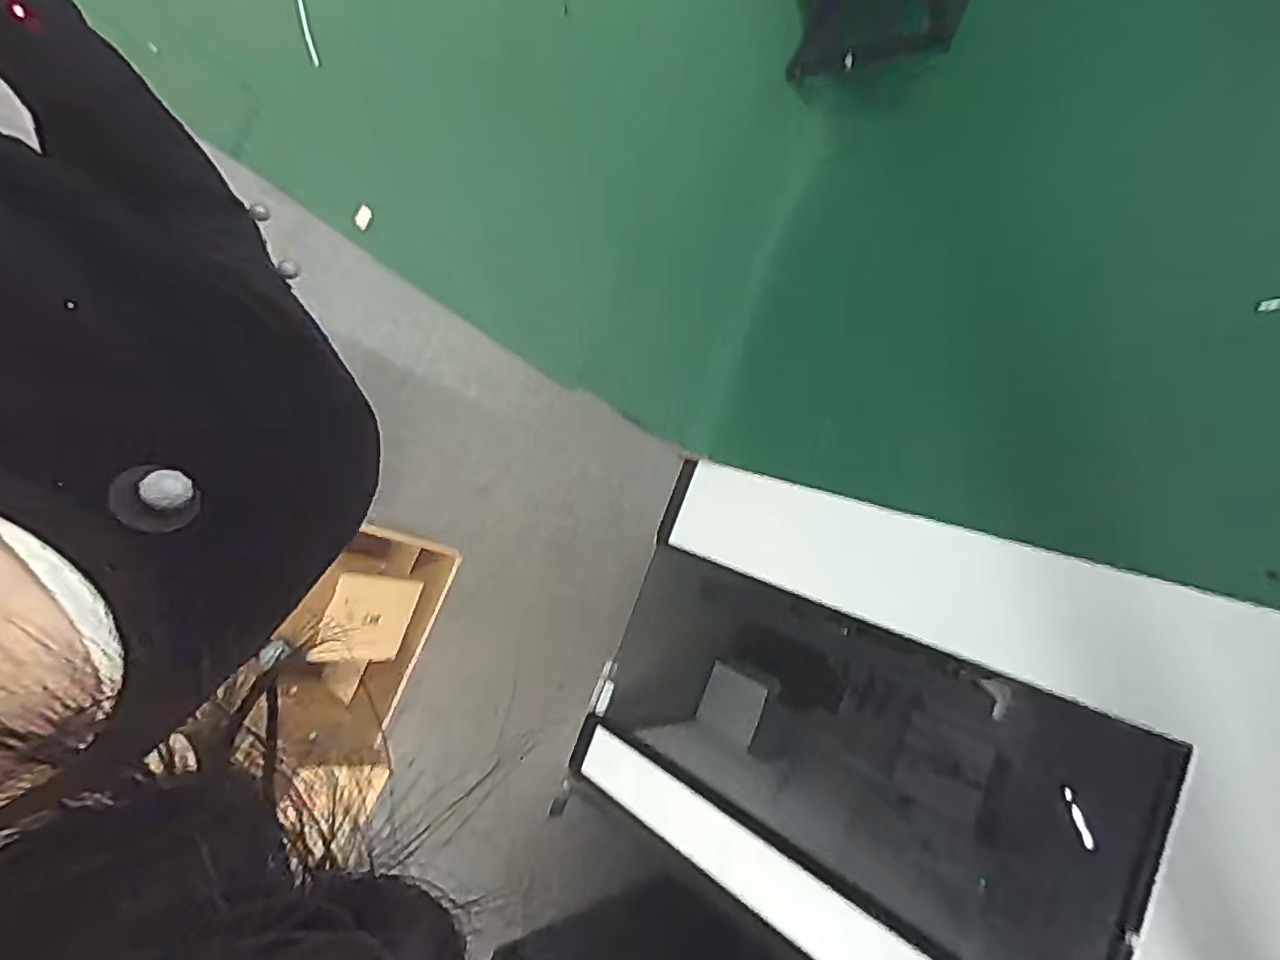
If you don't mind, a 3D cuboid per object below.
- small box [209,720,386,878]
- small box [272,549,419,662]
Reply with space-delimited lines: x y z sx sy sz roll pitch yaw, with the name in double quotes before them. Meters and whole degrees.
"small box" -0.589 0.534 0.929 0.179 0.176 0.168 41 72 -51
"small box" -0.588 0.249 1.082 0.179 0.176 0.168 27 82 -53
